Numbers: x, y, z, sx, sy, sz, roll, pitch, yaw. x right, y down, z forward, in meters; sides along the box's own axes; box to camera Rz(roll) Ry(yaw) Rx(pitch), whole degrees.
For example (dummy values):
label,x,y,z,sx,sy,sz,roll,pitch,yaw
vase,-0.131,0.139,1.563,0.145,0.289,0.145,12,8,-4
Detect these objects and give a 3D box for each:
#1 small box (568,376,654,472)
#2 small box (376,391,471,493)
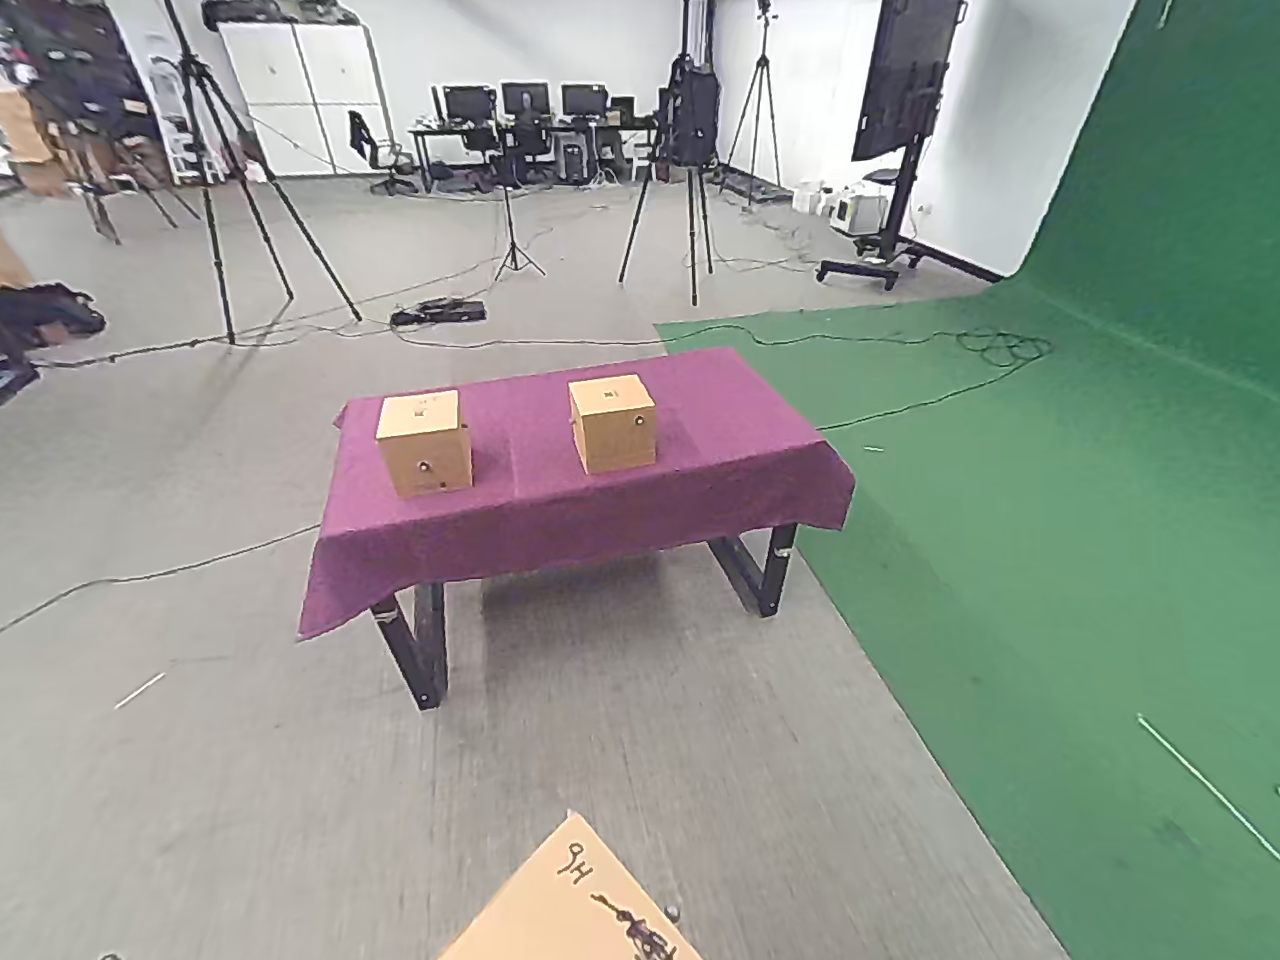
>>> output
label,x,y,z,sx,sy,sz,roll,pitch,yaw
small box,-0.070,-0.135,1.316,0.179,0.176,0.168,-9,39,-13
small box,-0.489,-0.083,1.246,0.168,0.176,0.179,-8,38,-12
